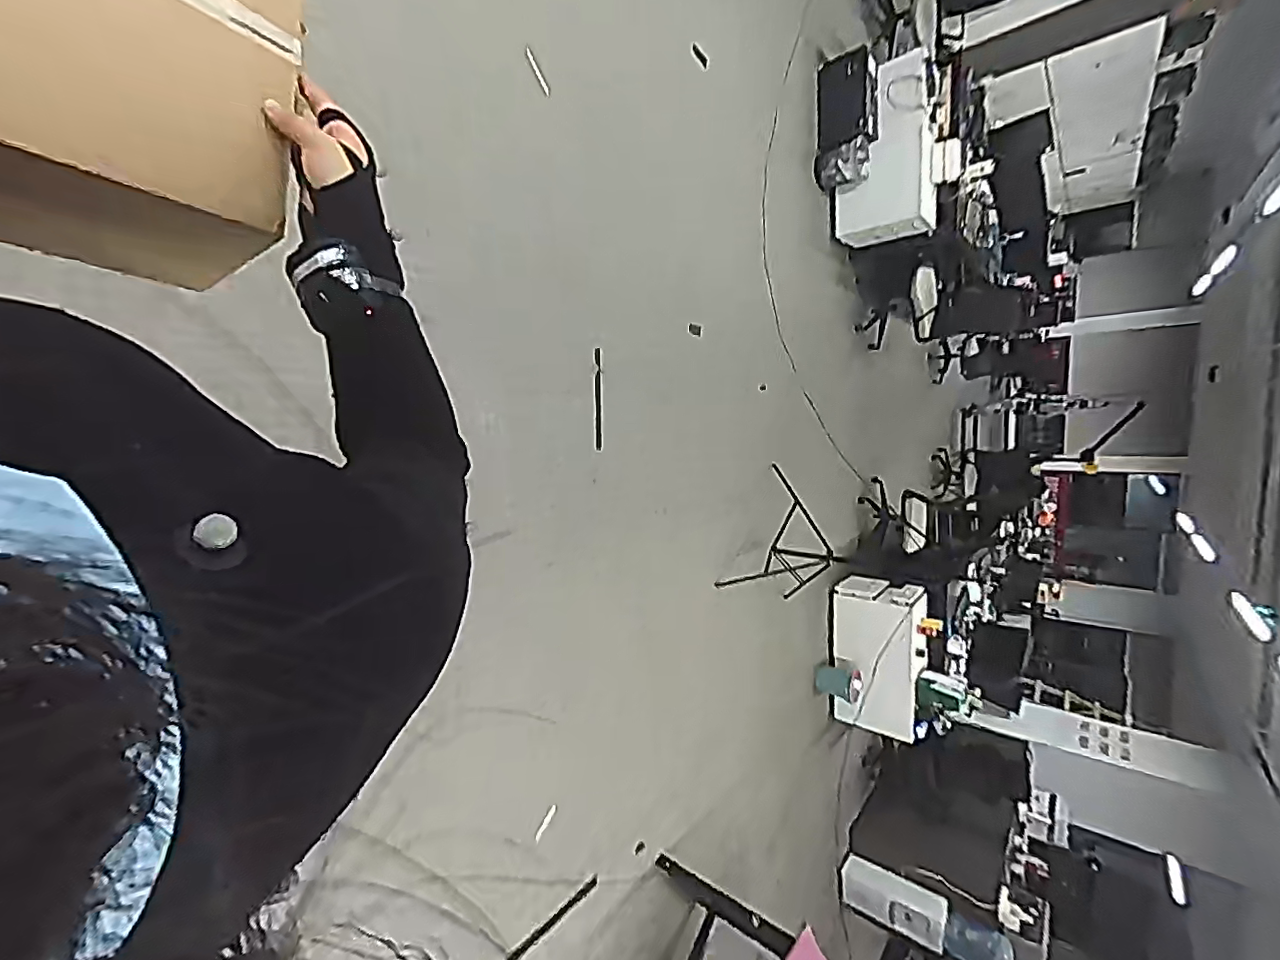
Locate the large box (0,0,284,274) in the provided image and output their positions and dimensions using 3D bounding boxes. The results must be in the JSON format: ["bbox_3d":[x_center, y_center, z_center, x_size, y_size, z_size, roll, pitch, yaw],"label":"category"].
[{"bbox_3d":[-0.552,-0.392,0.418,0.408,0.320,0.320,3,91,-50],"label":"large box"}]
